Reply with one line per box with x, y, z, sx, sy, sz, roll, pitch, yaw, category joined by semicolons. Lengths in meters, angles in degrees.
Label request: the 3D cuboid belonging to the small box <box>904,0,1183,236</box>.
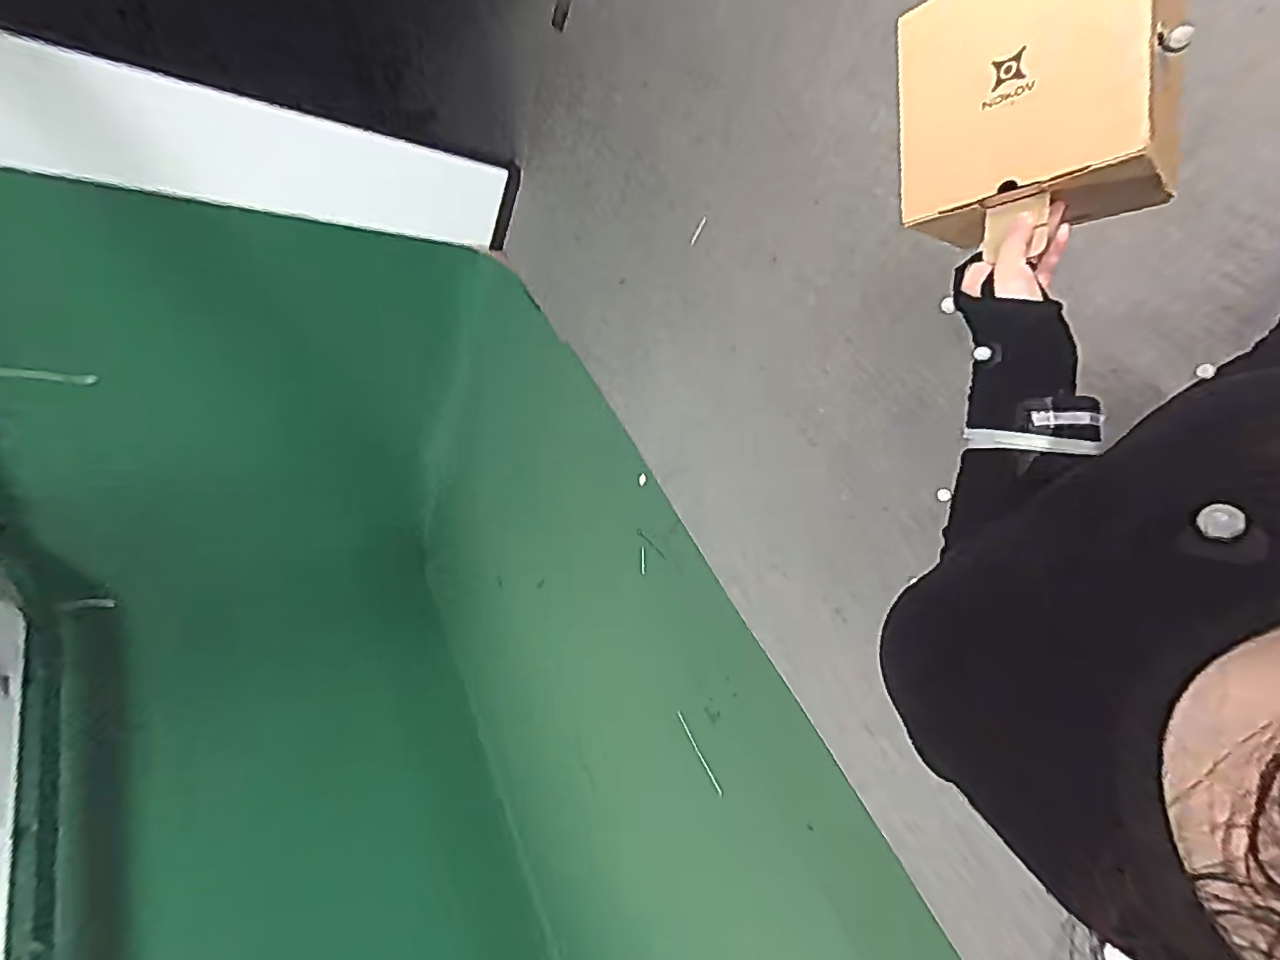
0.348;-0.334;0.471;0.168;0.176;0.179;5;103;48;small box
